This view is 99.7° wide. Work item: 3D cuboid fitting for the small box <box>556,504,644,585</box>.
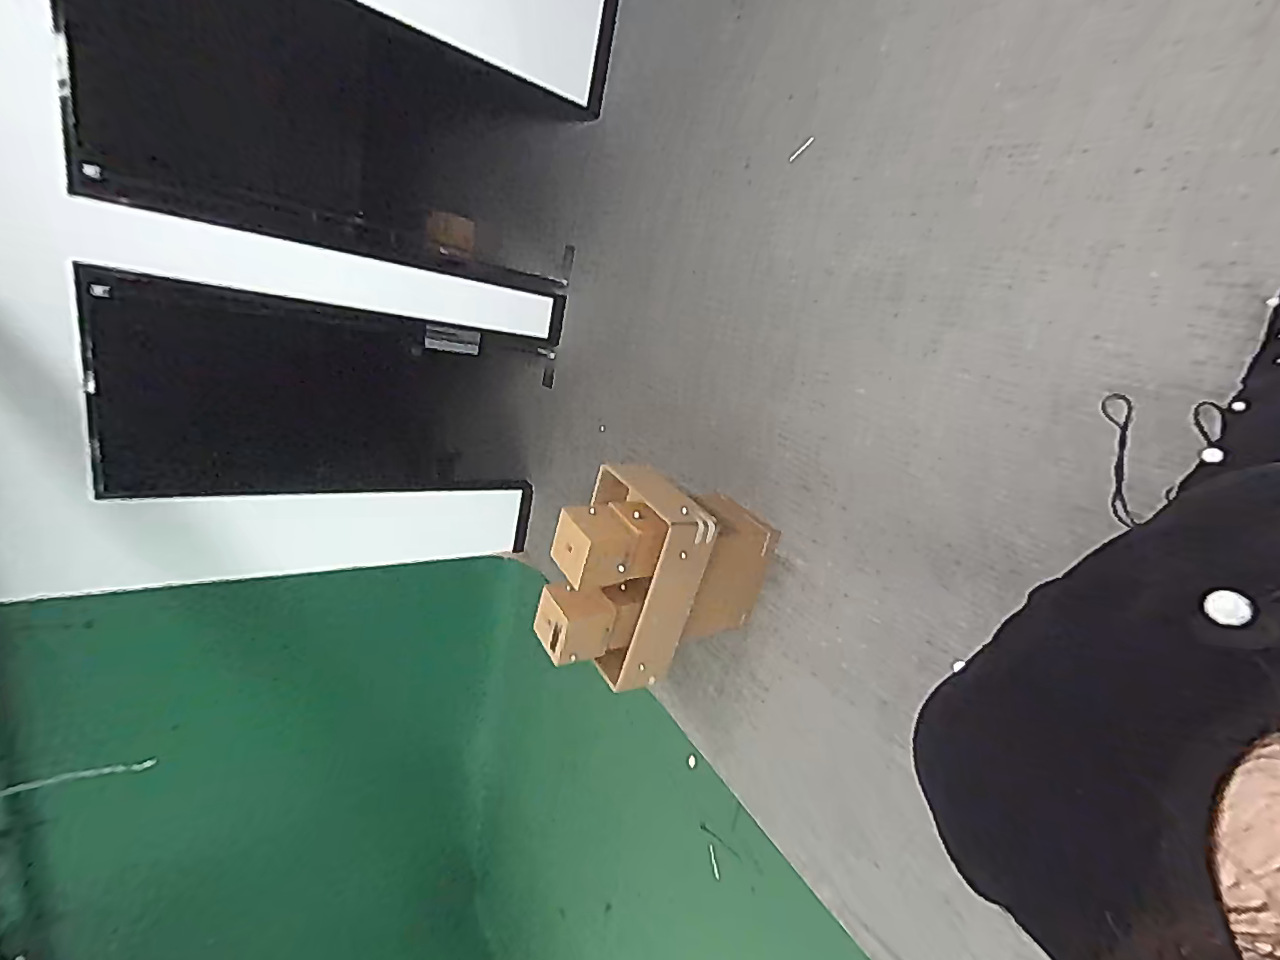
[{"bbox_3d":[-0.118,0.180,1.567,0.179,0.176,0.168,42,124,43],"label":"small box"}]
